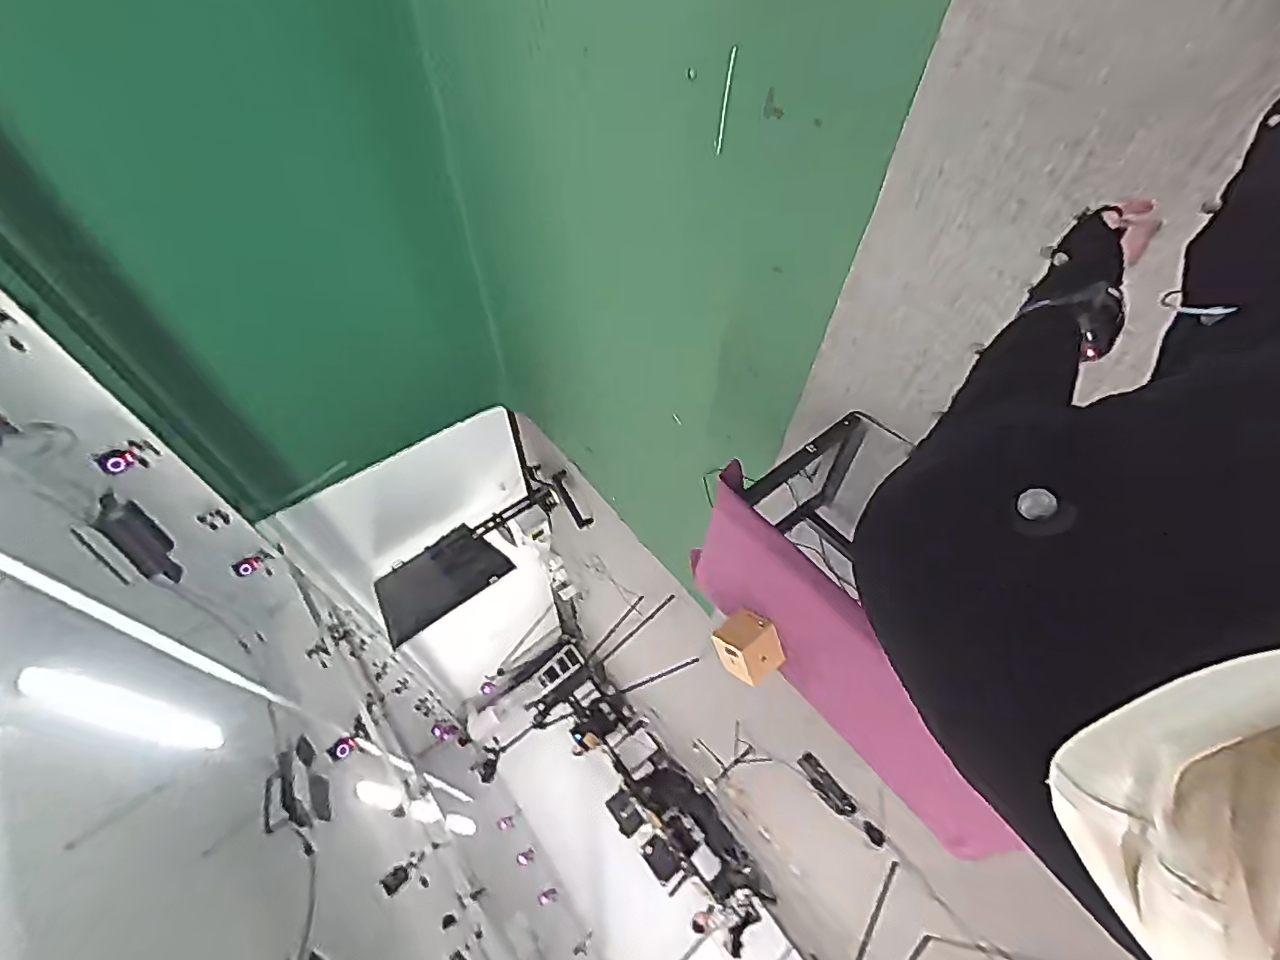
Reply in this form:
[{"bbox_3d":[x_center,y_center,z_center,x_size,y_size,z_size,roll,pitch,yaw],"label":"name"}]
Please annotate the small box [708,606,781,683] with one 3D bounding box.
[{"bbox_3d":[0.381,0.587,1.960,0.168,0.176,0.179,16,134,56],"label":"small box"}]
